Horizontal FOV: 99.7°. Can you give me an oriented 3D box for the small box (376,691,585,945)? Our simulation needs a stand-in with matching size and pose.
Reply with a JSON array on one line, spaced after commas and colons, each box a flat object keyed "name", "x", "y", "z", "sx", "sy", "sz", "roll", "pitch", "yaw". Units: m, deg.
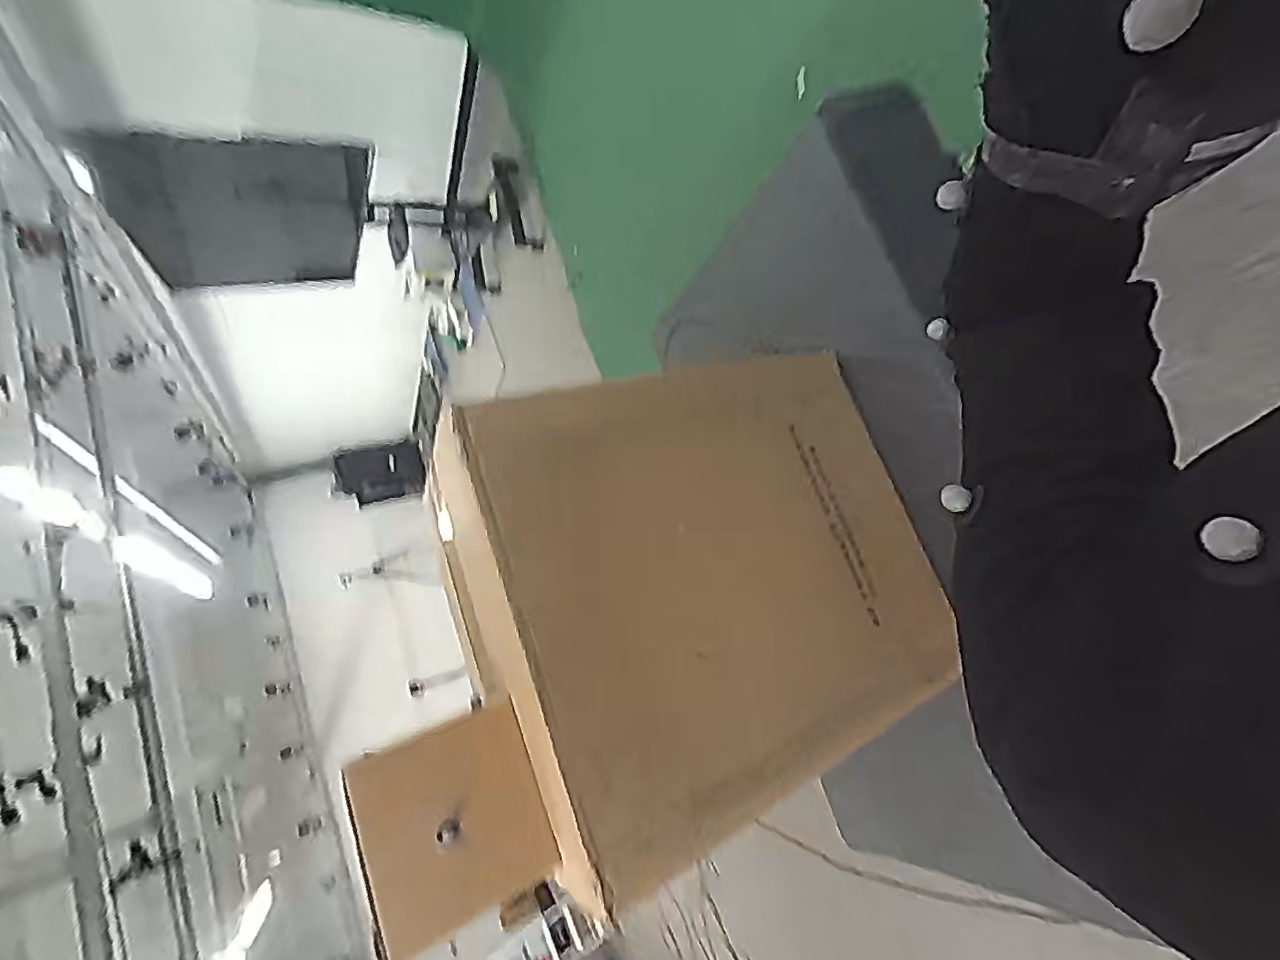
[{"name": "small box", "x": -0.185, "y": 0.352, "z": 0.609, "sx": 0.168, "sy": 0.176, "sz": 0.179, "roll": -44, "pitch": 65, "yaw": 56}]
